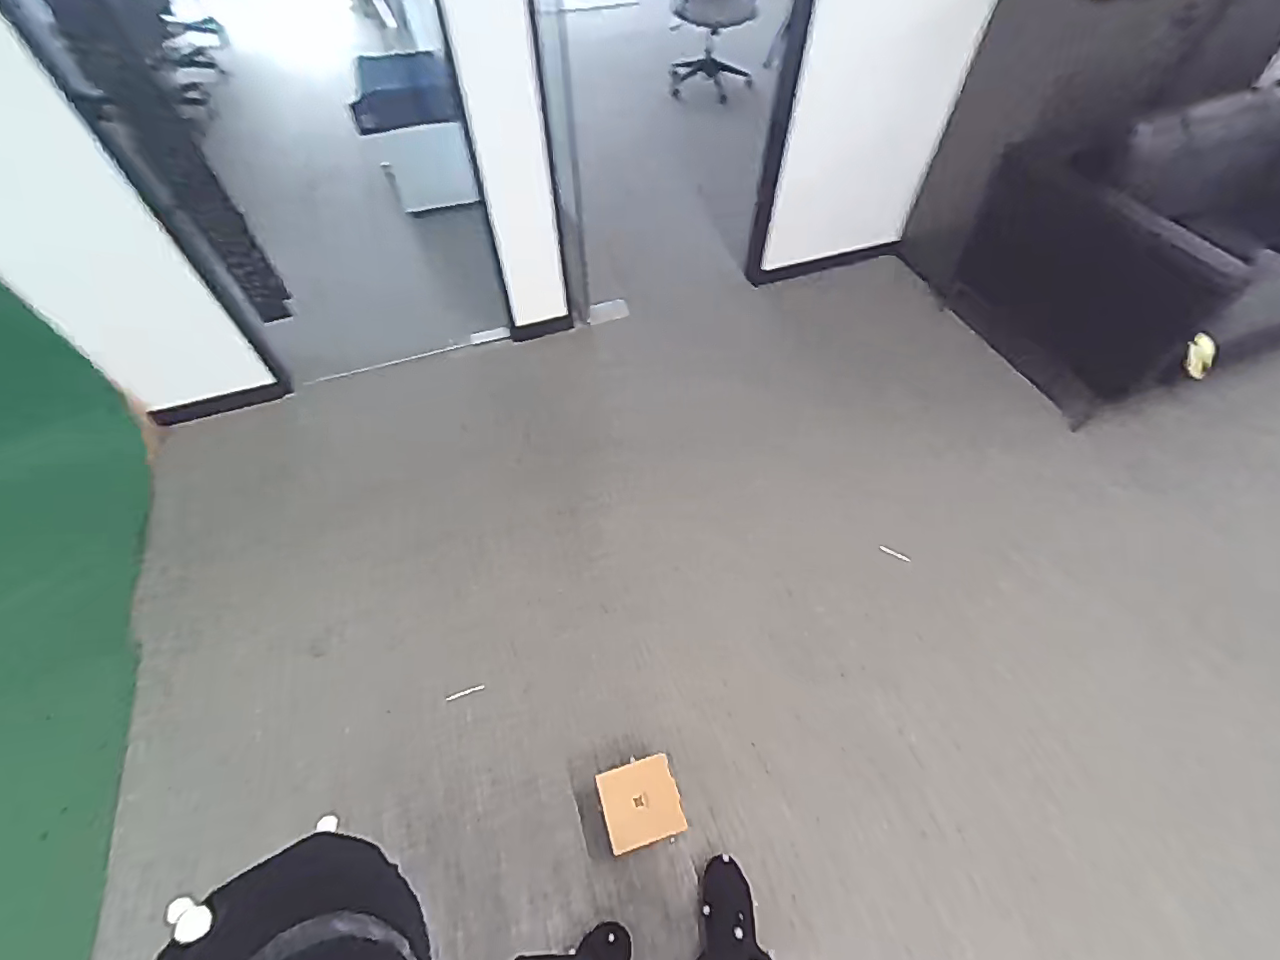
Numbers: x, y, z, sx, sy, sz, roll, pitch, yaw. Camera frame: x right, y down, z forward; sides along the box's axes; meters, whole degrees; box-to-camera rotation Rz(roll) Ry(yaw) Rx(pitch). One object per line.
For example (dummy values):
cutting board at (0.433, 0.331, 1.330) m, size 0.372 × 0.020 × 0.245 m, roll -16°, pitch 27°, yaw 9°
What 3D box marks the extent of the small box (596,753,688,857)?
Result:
small box at (0.002, 0.780, 1.292) m, size 0.179 × 0.176 × 0.168 m, roll -14°, pitch 55°, yaw -11°
